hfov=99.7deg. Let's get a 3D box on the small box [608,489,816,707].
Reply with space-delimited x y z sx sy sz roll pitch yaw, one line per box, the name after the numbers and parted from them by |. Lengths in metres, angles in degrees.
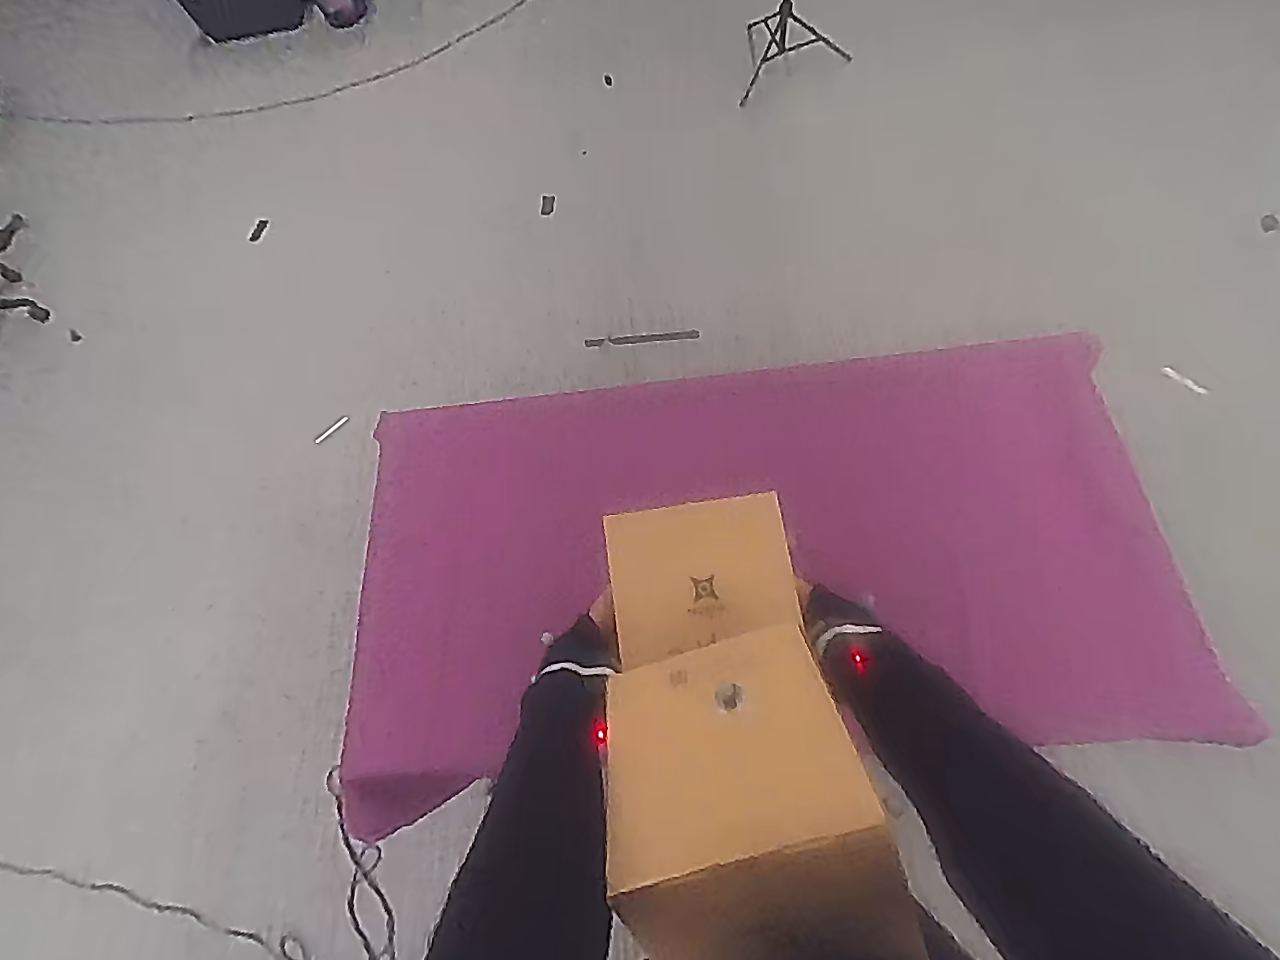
0.064 0.120 0.561 0.168 0.176 0.179 -9 77 2 | small box
